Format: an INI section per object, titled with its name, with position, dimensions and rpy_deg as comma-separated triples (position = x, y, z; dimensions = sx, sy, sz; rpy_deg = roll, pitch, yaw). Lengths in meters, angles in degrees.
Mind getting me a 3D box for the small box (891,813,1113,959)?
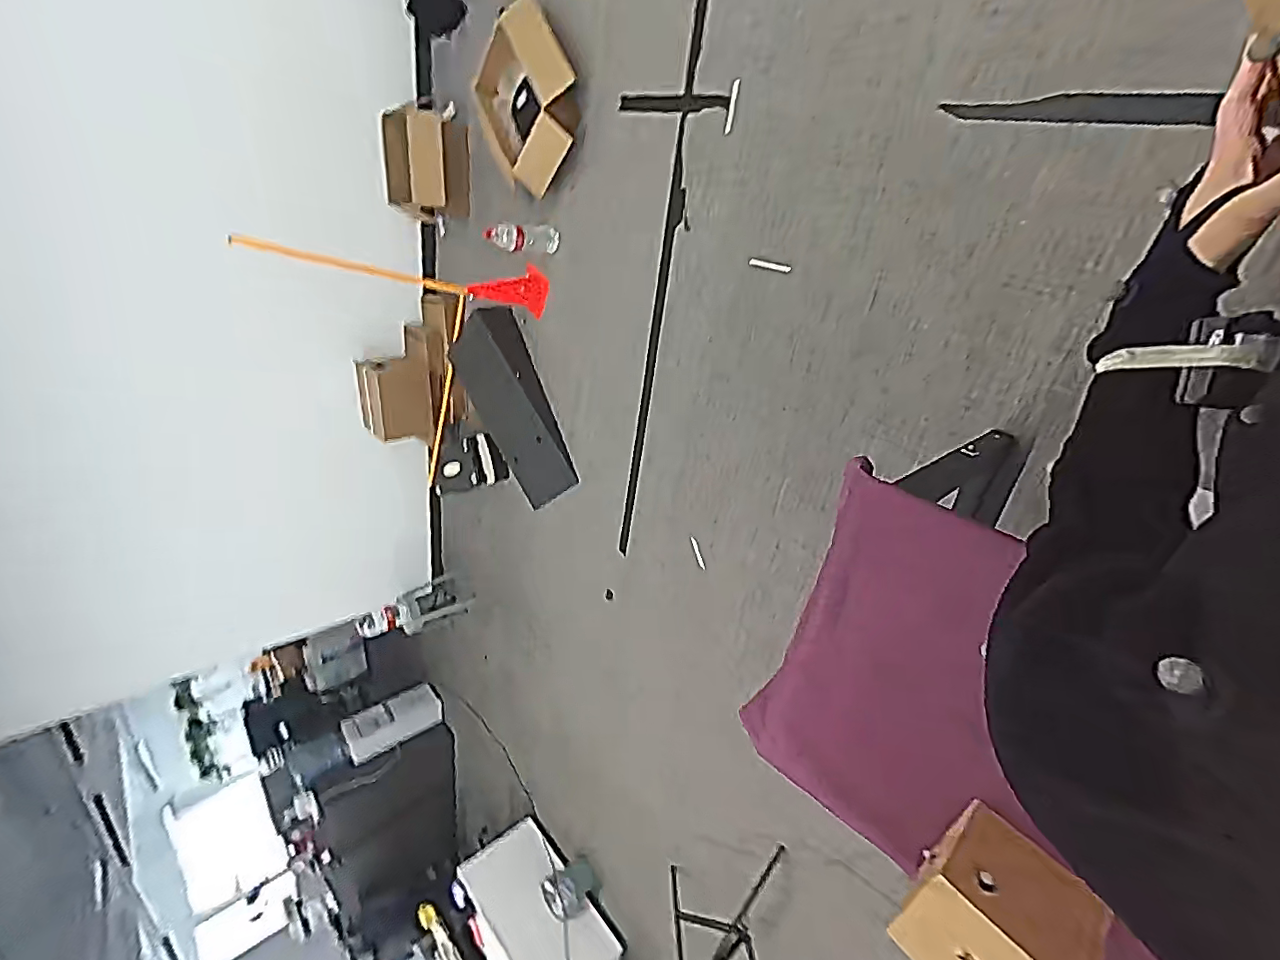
[small box]
position = 0.485, 0.595, 0.731
dimensions = 0.179, 0.176, 0.168
rpy_deg = 35, 125, 36
